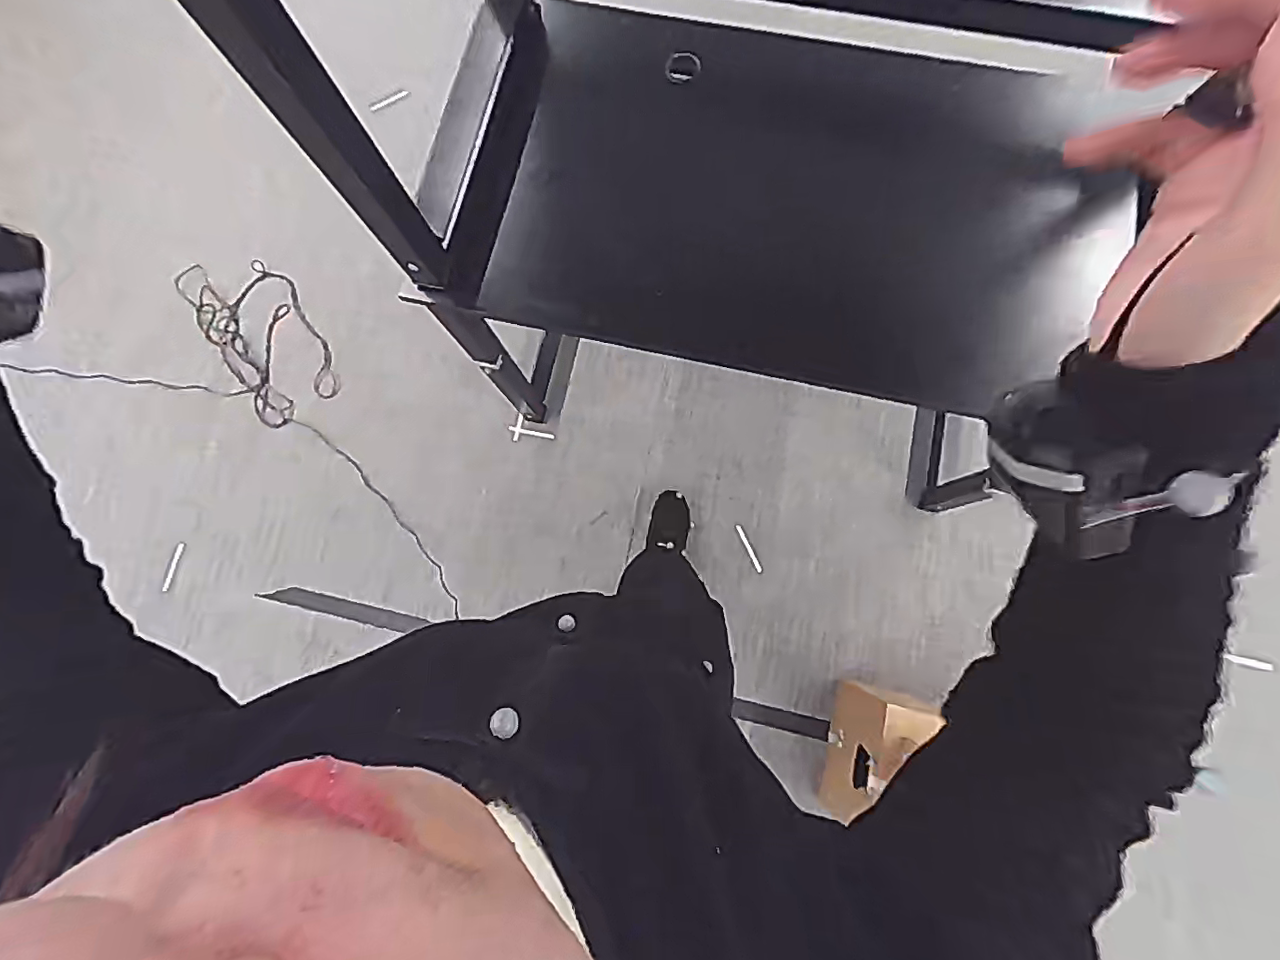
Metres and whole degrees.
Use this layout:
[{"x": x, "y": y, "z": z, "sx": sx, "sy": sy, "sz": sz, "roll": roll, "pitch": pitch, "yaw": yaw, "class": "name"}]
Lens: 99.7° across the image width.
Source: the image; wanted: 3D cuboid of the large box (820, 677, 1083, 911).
[{"x": 0.670, "y": 0.669, "z": 1.226, "sx": 0.408, "sy": 0.320, "sz": 0.320, "roll": 14, "pitch": 82, "yaw": 4, "class": "large box"}]
